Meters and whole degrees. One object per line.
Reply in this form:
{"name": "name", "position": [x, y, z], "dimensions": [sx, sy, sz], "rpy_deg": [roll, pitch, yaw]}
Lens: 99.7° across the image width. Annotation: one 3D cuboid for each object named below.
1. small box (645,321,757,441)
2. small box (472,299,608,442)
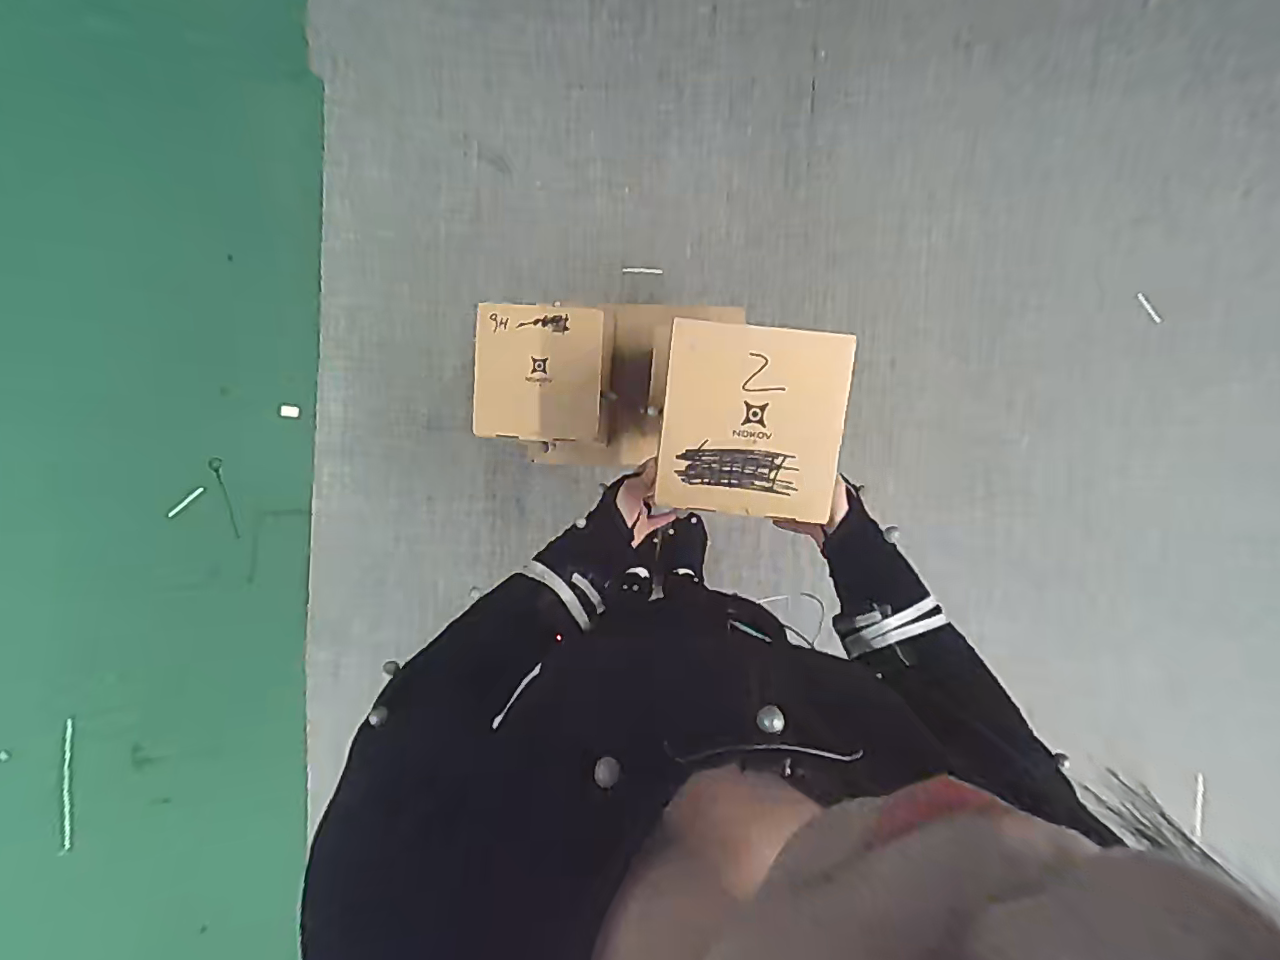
{"name": "small box", "position": [0.099, -0.163, 0.946], "dimensions": [0.168, 0.176, 0.179], "rpy_deg": [5, 91, 0]}
{"name": "small box", "position": [-0.135, -0.147, 0.783], "dimensions": [0.168, 0.176, 0.179], "rpy_deg": [3, 93, -2]}
